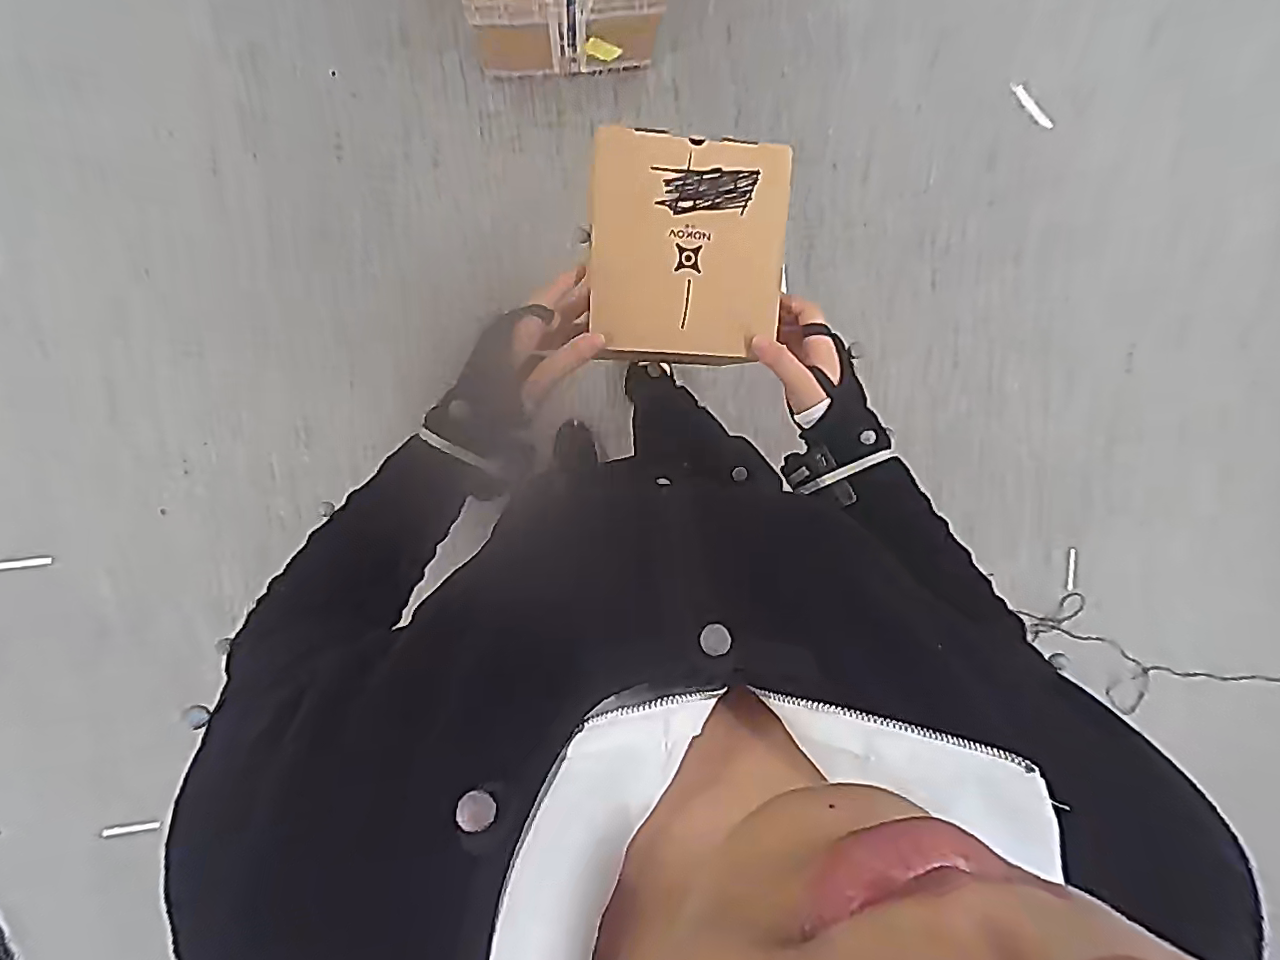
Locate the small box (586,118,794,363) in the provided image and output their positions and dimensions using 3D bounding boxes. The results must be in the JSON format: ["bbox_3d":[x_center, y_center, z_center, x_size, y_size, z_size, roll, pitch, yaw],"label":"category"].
[{"bbox_3d":[0.034,-0.212,0.530,0.168,0.176,0.179,1,100,-8],"label":"small box"}]
